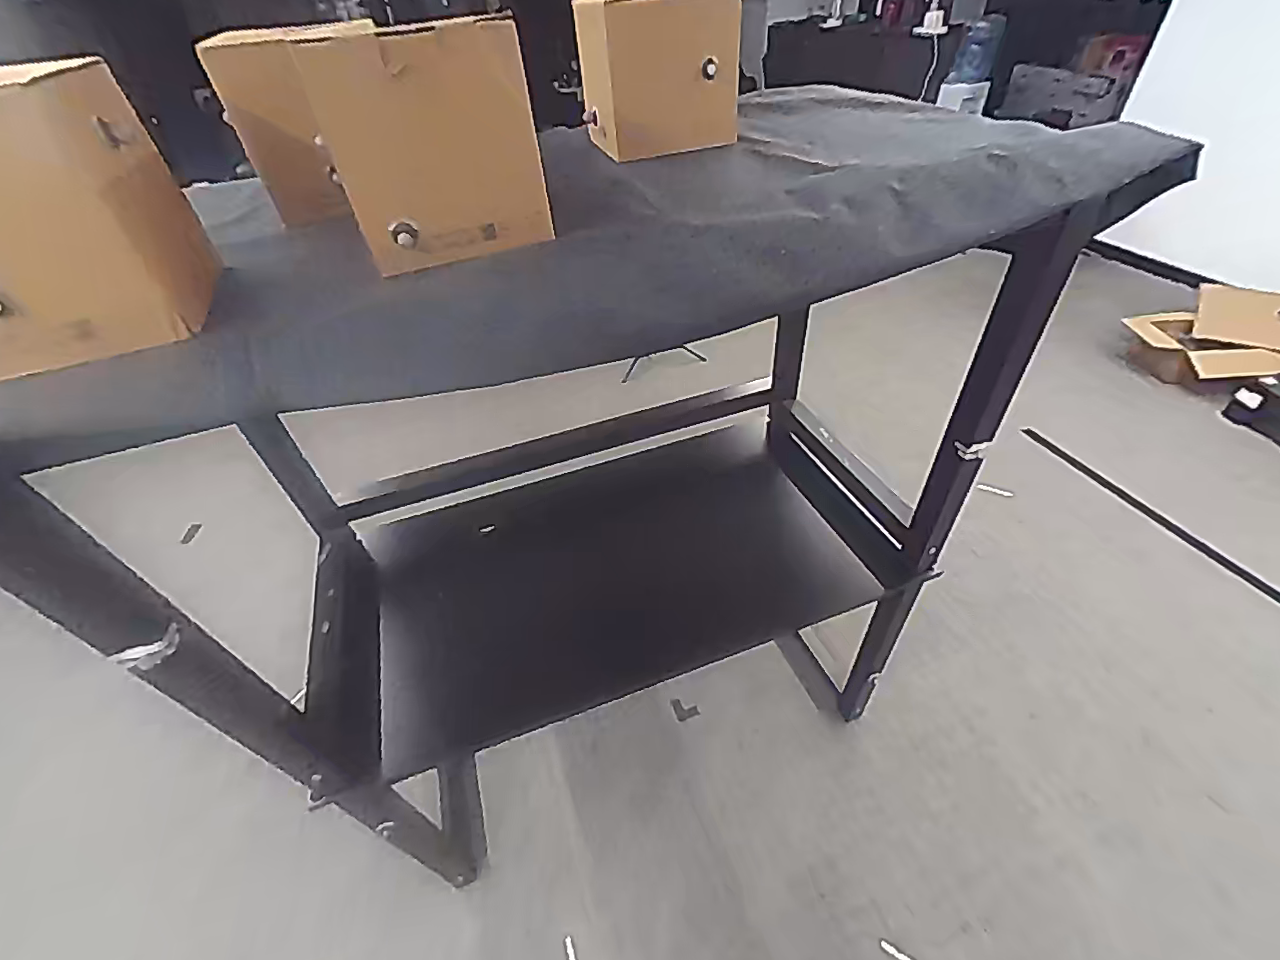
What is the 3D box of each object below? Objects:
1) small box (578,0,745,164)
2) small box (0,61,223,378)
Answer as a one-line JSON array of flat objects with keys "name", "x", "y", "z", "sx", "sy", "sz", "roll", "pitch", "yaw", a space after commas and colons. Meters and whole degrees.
[{"name": "small box", "x": 0.025, "y": -0.552, "z": 0.739, "sx": 0.179, "sy": 0.176, "sz": 0.168, "roll": -15, "pitch": 43, "yaw": -10}, {"name": "small box", "x": -0.459, "y": -0.198, "z": 0.410, "sx": 0.168, "sy": 0.176, "sz": 0.179, "roll": -19, "pitch": 46, "yaw": -14}]
